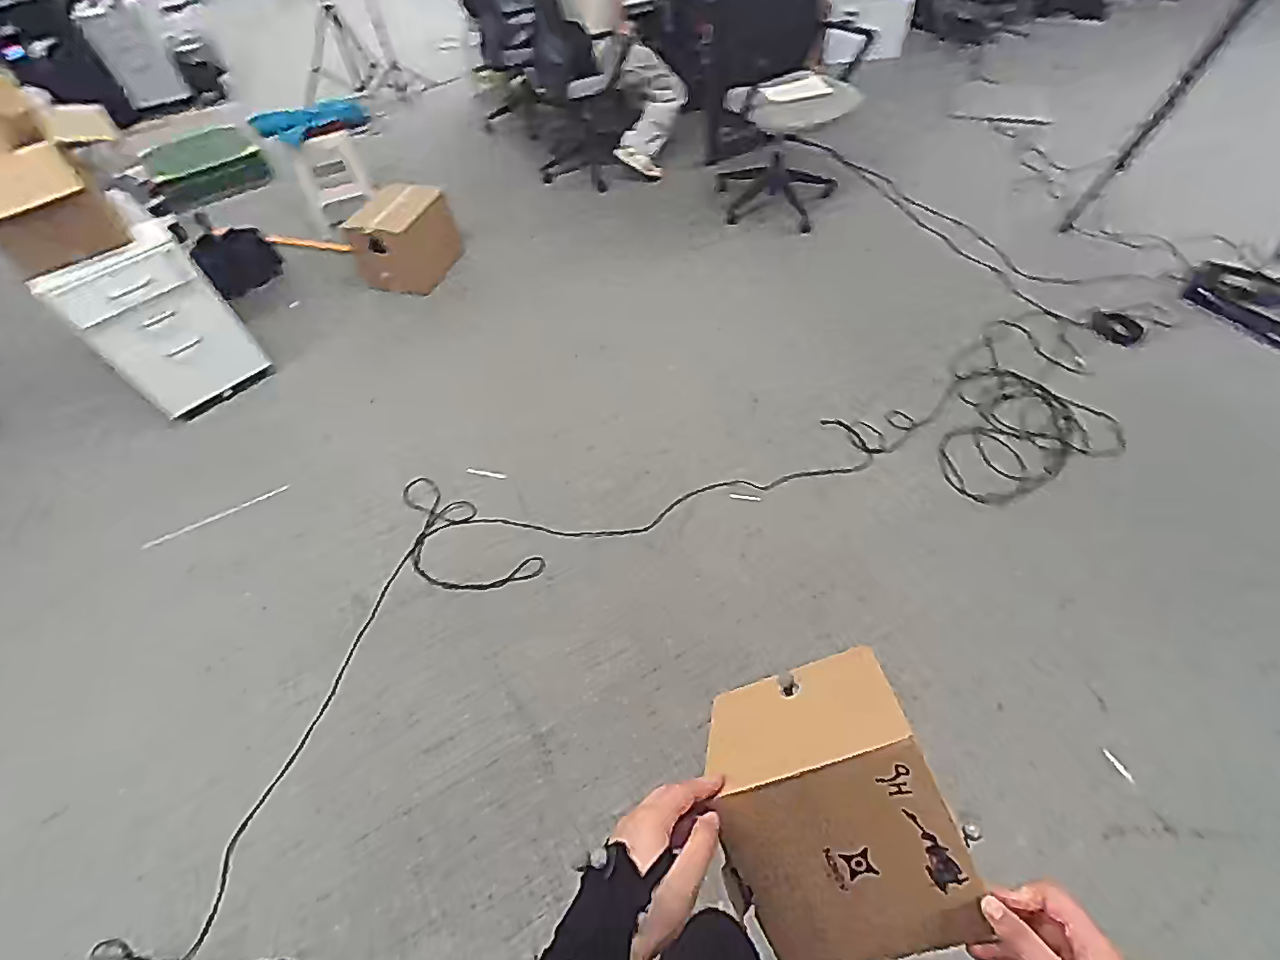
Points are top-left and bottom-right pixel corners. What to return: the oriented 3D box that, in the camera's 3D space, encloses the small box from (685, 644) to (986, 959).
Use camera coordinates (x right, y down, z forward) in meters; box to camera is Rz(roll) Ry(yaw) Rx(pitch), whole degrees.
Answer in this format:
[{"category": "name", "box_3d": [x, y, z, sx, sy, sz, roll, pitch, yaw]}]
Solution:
[{"category": "small box", "box_3d": [0.162, 0.279, 0.492, 0.179, 0.176, 0.168, -26, 91, 13]}]
